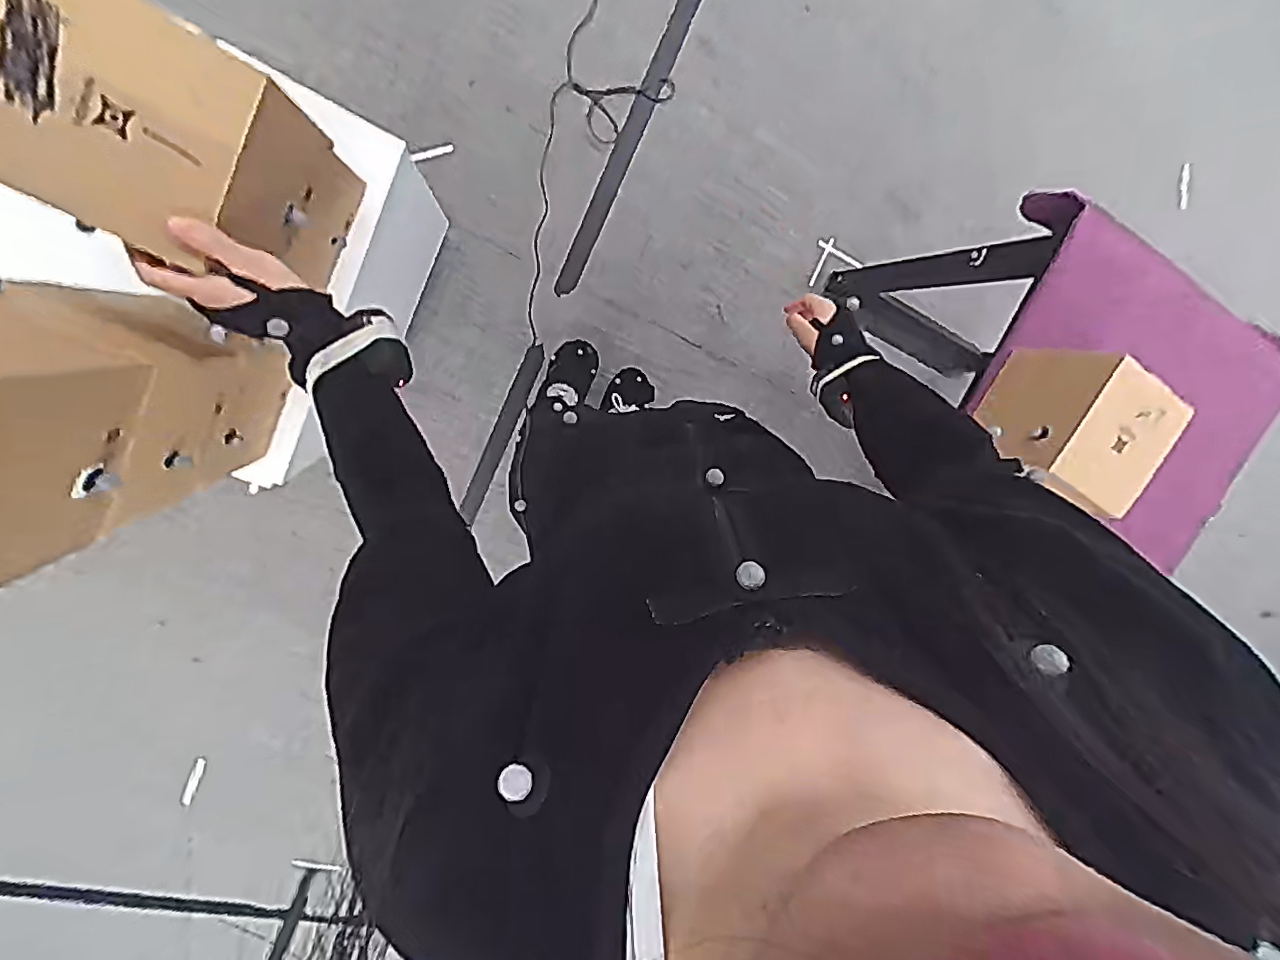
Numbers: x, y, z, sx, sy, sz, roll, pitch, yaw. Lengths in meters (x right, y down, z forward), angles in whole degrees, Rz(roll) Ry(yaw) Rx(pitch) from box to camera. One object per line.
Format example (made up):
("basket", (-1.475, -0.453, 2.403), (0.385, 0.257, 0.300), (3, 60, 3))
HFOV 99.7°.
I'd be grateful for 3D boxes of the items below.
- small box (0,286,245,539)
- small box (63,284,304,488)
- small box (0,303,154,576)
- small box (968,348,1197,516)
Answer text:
("small box", (-0.515, -0.071, 0.503), (0.179, 0.176, 0.168), (21, 99, -17))
("small box", (-0.552, -0.113, 0.655), (0.179, 0.176, 0.168), (23, 100, -17))
("small box", (-0.481, -0.032, 0.349), (0.179, 0.176, 0.168), (21, 100, -18))
("small box", (0.629, -0.077, 0.795), (0.168, 0.176, 0.179), (26, 98, -19))
